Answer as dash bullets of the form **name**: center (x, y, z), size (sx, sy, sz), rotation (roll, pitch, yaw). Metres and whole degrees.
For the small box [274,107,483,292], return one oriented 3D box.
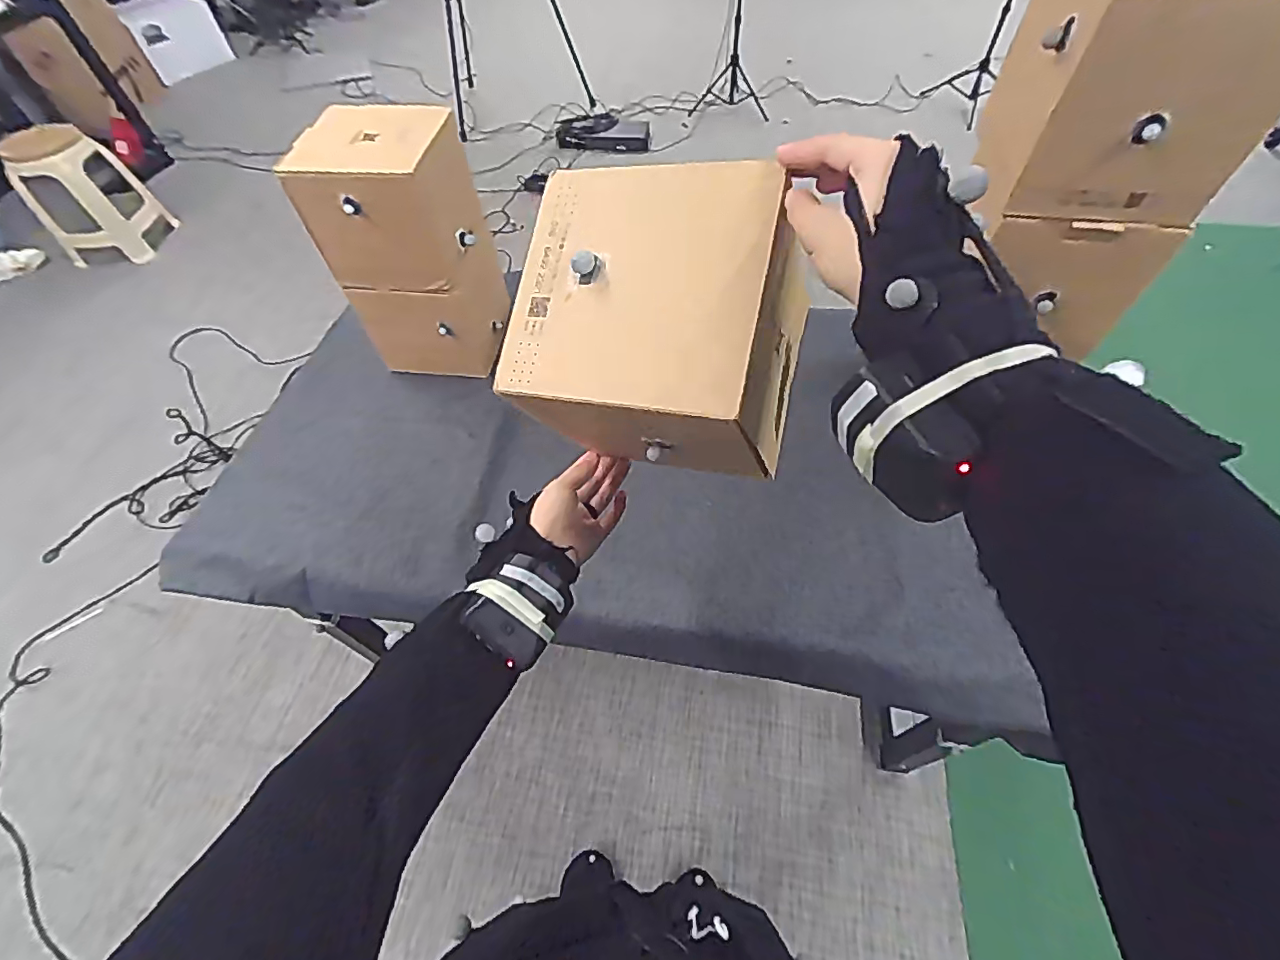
- **small box**: center (-0.337, -0.378, 0.738), size (0.179, 0.176, 0.168), rotation (4, 58, 4)

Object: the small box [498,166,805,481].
- **small box**: center (0.023, -0.107, 0.416), size (0.176, 0.179, 0.168), rotation (9, 81, 22)

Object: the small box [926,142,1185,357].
- **small box**: center (0.449, -0.265, 0.622), size (0.168, 0.176, 0.179), rotation (9, 58, 9)

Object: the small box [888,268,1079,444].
- **small box**: center (0.460, -0.177, 0.760), size (0.168, 0.176, 0.179), rotation (9, 57, 9)

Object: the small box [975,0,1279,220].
- **small box**: center (0.434, -0.359, 0.486), size (0.168, 0.176, 0.179), rotation (8, 57, 8)
